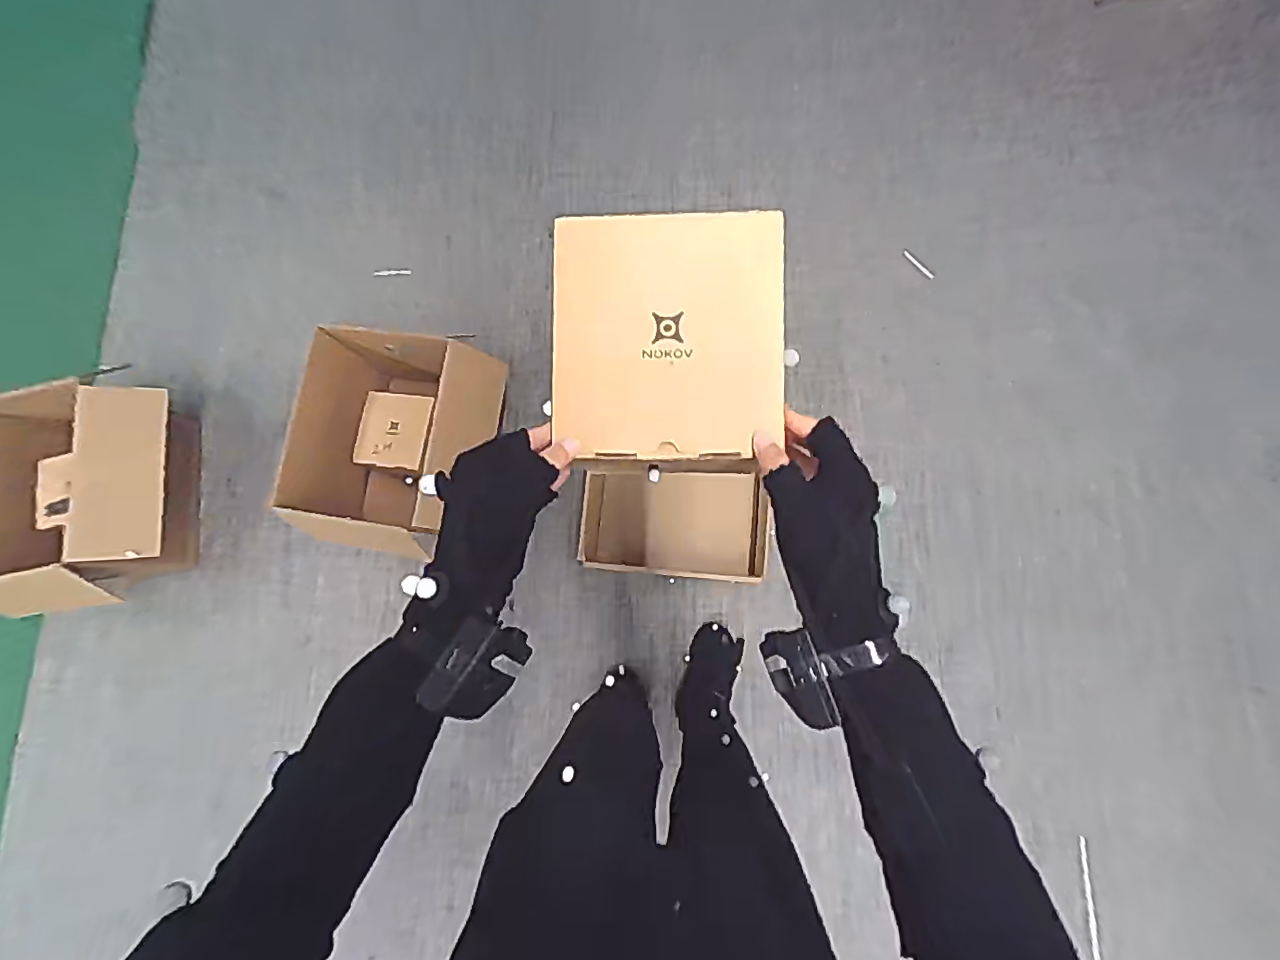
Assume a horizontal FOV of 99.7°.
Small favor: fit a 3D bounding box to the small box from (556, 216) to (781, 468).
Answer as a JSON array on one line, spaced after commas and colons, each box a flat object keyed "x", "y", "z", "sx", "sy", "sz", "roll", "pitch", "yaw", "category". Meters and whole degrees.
[{"x": 0.024, "y": -0.104, "z": 0.475, "sx": 0.168, "sy": 0.176, "sz": 0.179, "roll": 0, "pitch": 88, "yaw": 3, "category": "small box"}]
